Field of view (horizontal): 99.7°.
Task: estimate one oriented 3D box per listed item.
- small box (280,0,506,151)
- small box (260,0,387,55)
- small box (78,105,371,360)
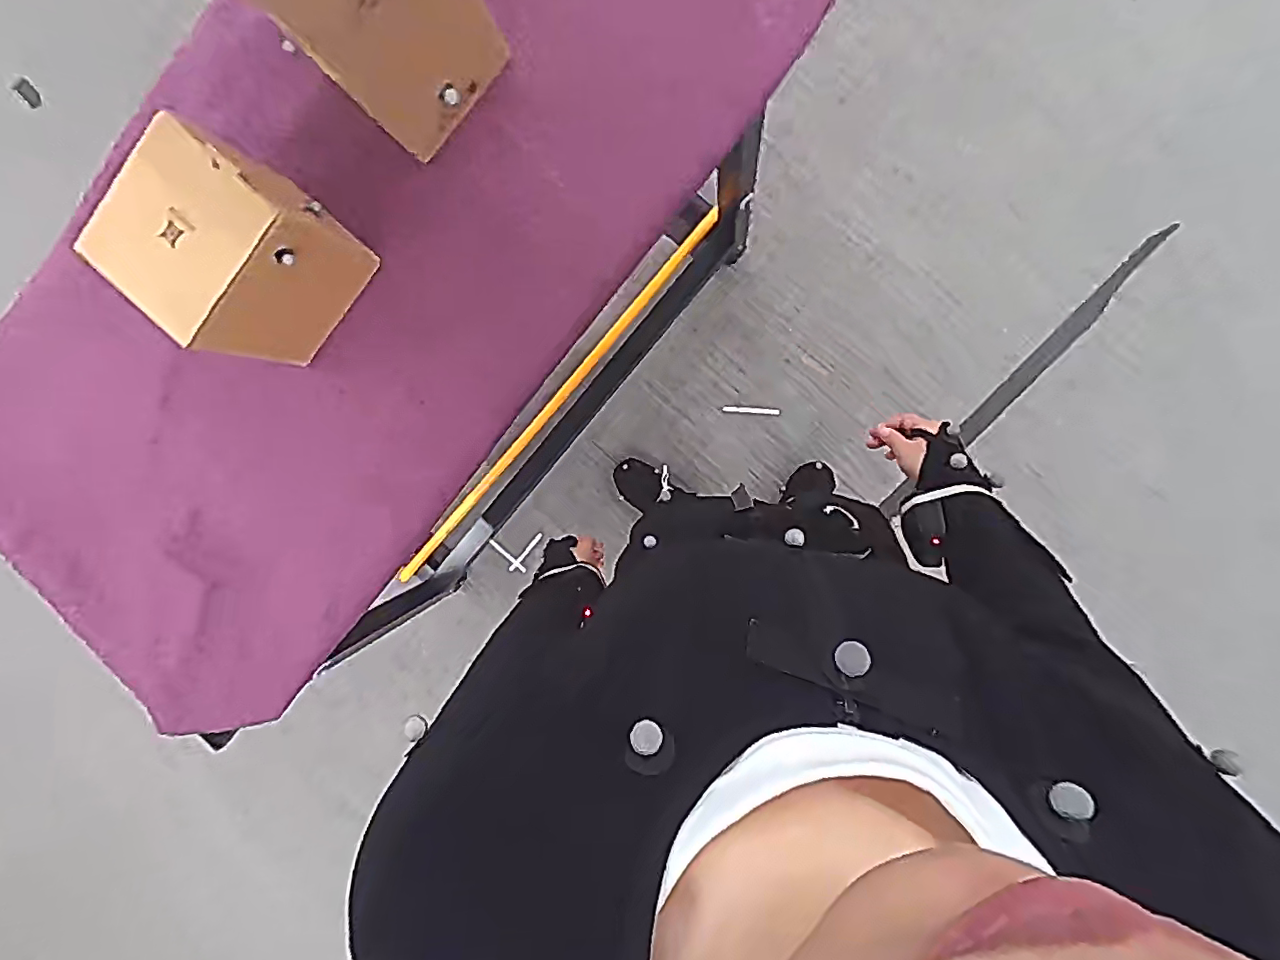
[{"bbox_3d":[-0.278,-0.501,0.573,0.179,0.176,0.168,45,99,1],"label":"small box"},{"bbox_3d":[-0.296,-0.489,0.409,0.179,0.176,0.168,45,99,2],"label":"small box"},{"bbox_3d":[-0.453,-0.259,0.618,0.168,0.176,0.179,41,98,3],"label":"small box"}]
